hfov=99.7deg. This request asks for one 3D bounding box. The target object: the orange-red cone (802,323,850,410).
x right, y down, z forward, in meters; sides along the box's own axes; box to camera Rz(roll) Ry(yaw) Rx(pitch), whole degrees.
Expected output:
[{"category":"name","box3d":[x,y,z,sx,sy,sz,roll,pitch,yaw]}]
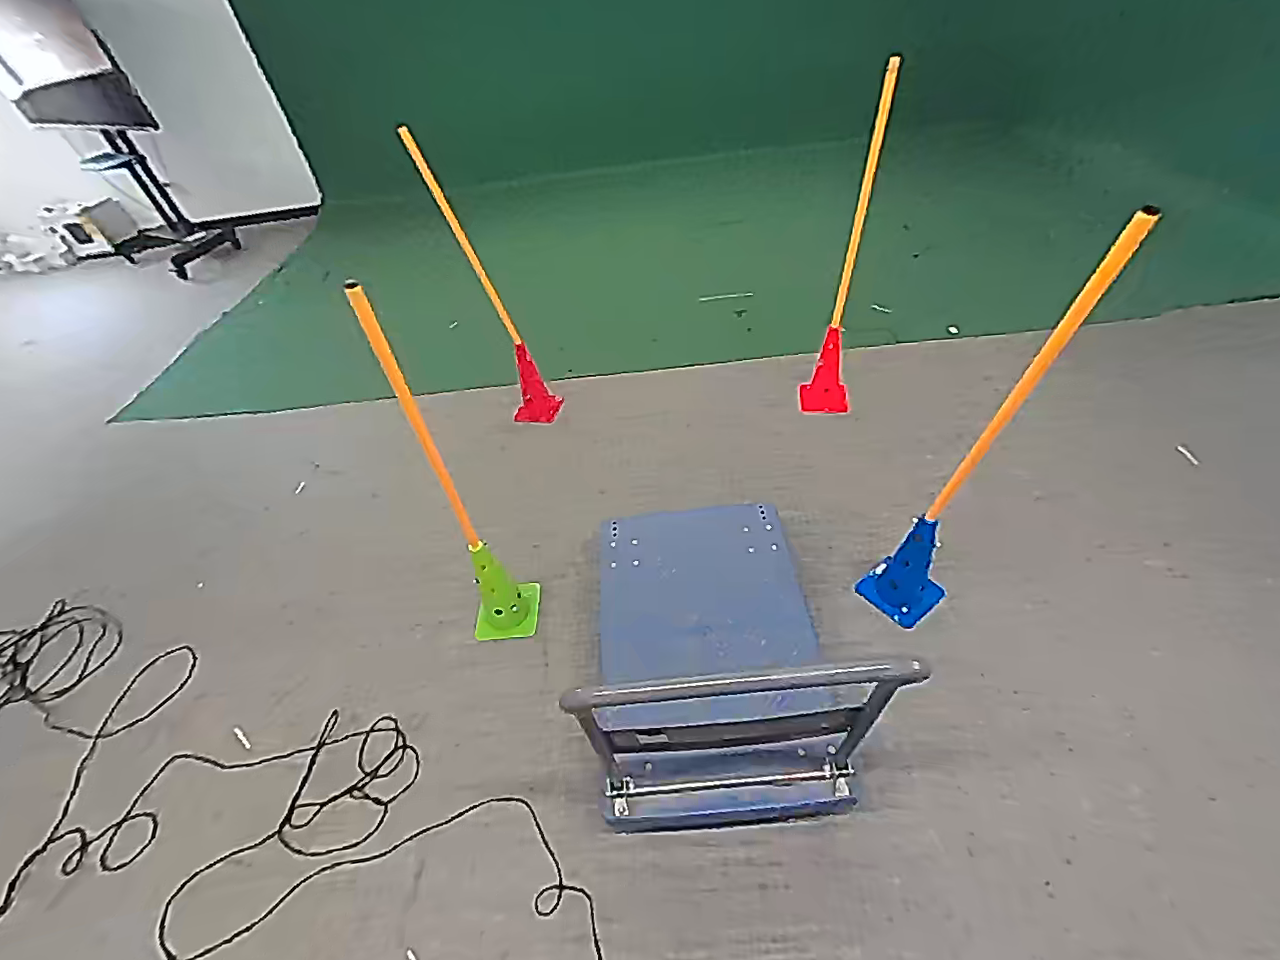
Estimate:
[{"category":"orange-red cone","box3d":[0.788,-0.483,2.236,0.198,0.360,0.199,3,47,13]}]
